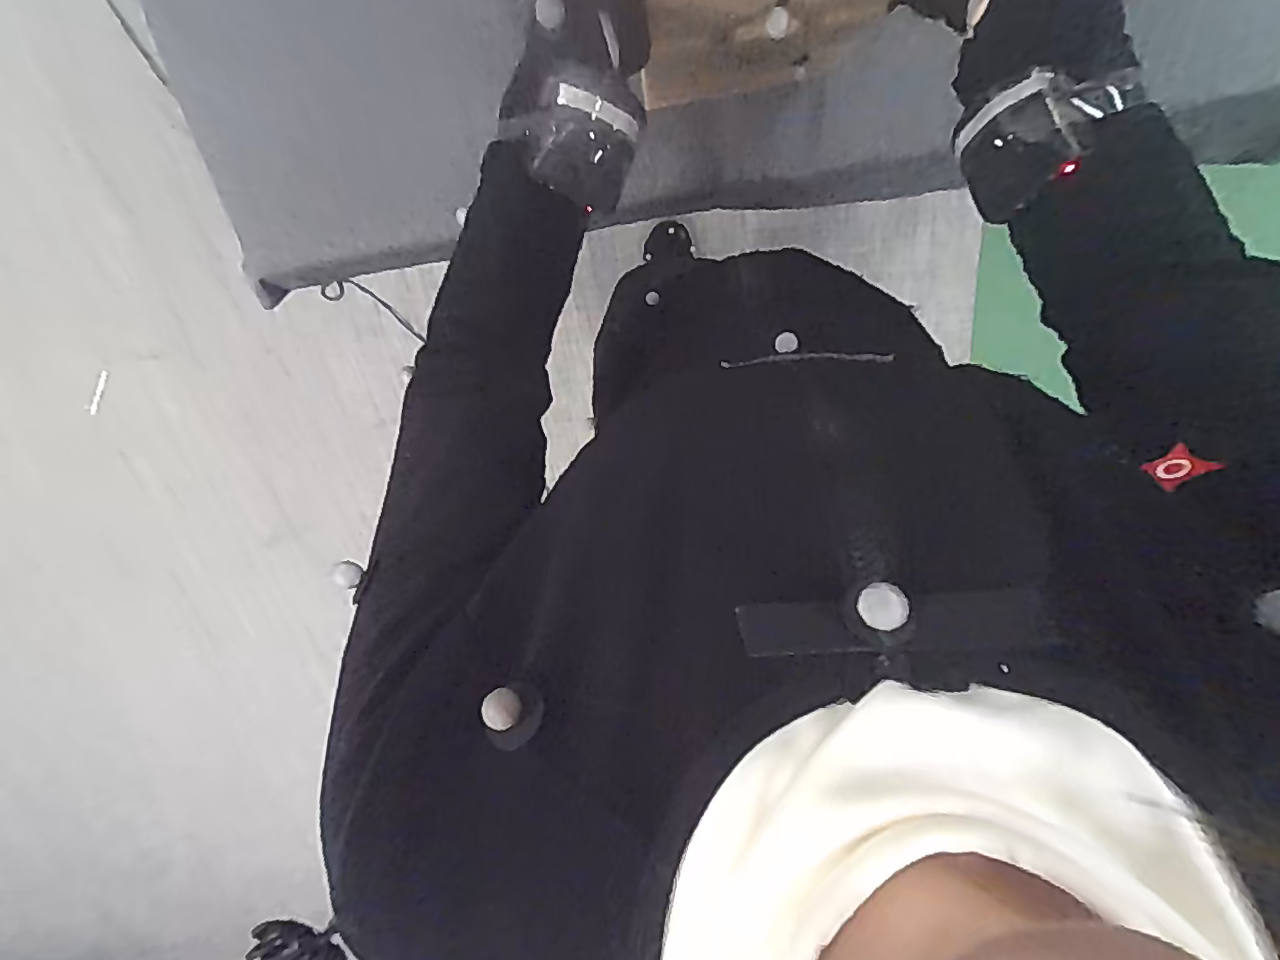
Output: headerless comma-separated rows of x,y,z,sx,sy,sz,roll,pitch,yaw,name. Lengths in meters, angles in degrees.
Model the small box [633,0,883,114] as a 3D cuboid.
0.076,-0.419,0.433,0.179,0.176,0.168,-8,112,6,small box
